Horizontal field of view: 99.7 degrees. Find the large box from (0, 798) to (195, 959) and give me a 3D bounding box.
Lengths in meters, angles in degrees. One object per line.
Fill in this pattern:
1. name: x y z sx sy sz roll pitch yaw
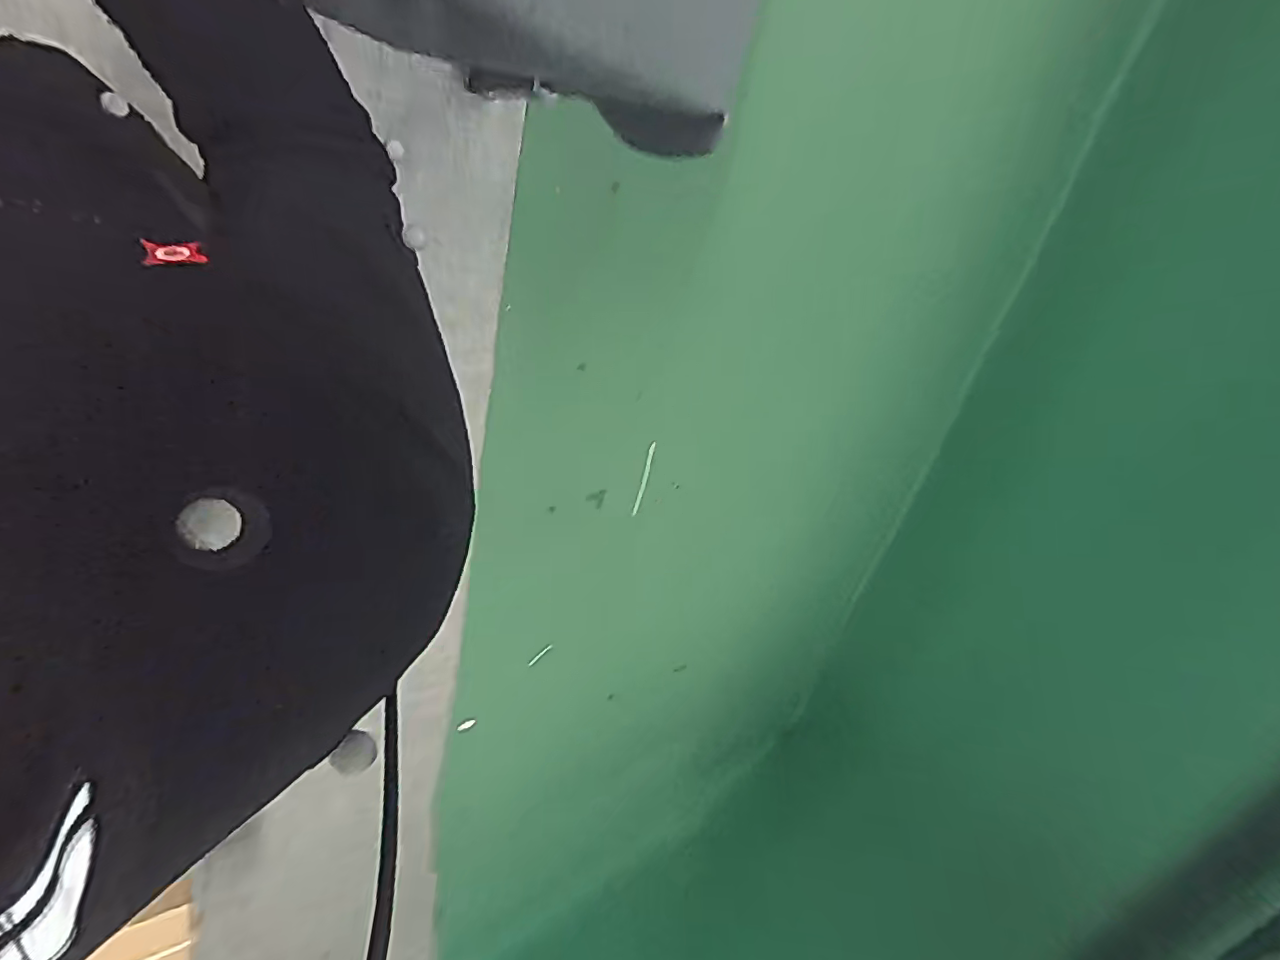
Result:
1. large box: -1.379 1.095 1.352 0.408 0.320 0.320 0 117 -41
